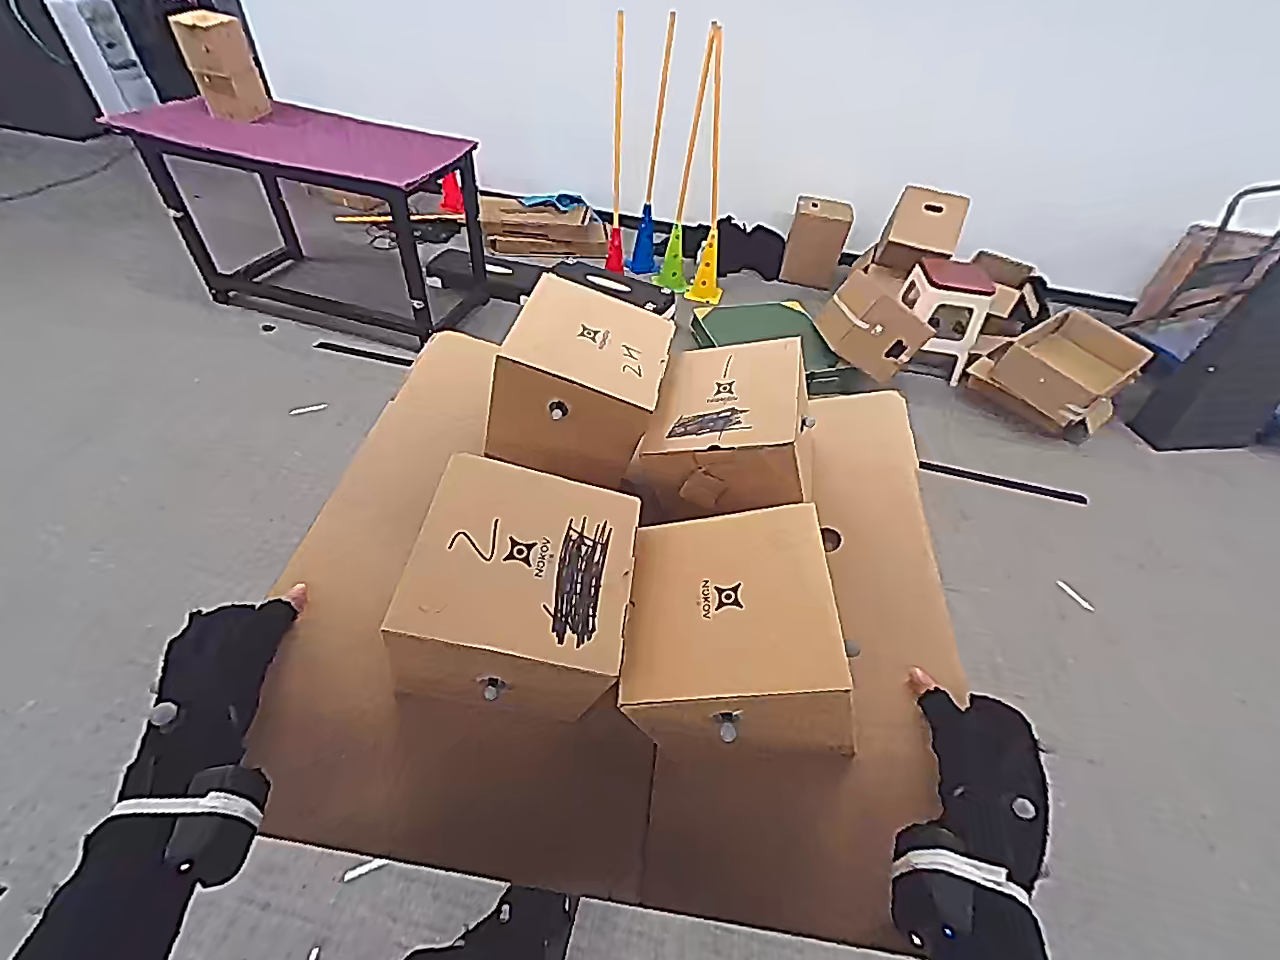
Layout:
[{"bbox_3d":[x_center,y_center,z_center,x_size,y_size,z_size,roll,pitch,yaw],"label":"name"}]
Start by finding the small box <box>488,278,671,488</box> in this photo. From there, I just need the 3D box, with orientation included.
[{"bbox_3d":[-0.081,-0.114,0.684,0.179,0.176,0.168,20,51,-6],"label":"small box"}]
